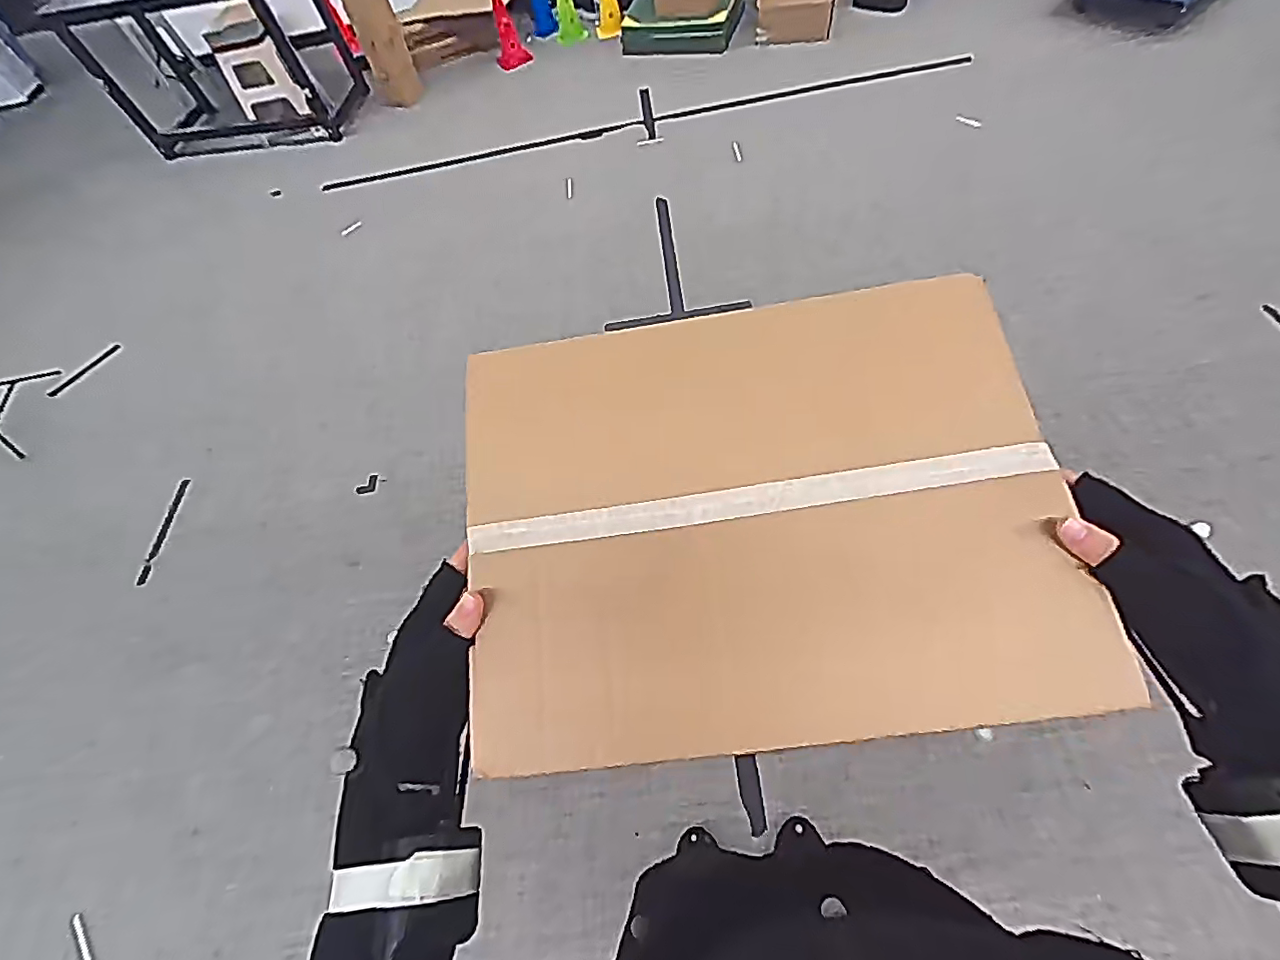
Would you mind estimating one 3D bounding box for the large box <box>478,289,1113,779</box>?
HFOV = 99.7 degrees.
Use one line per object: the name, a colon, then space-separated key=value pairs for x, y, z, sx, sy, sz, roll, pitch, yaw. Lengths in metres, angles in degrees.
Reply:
large box: x=0.097 y=0.068 z=0.531 sx=0.408 sy=0.320 sz=0.320 roll=-9 pitch=70 yaw=4
